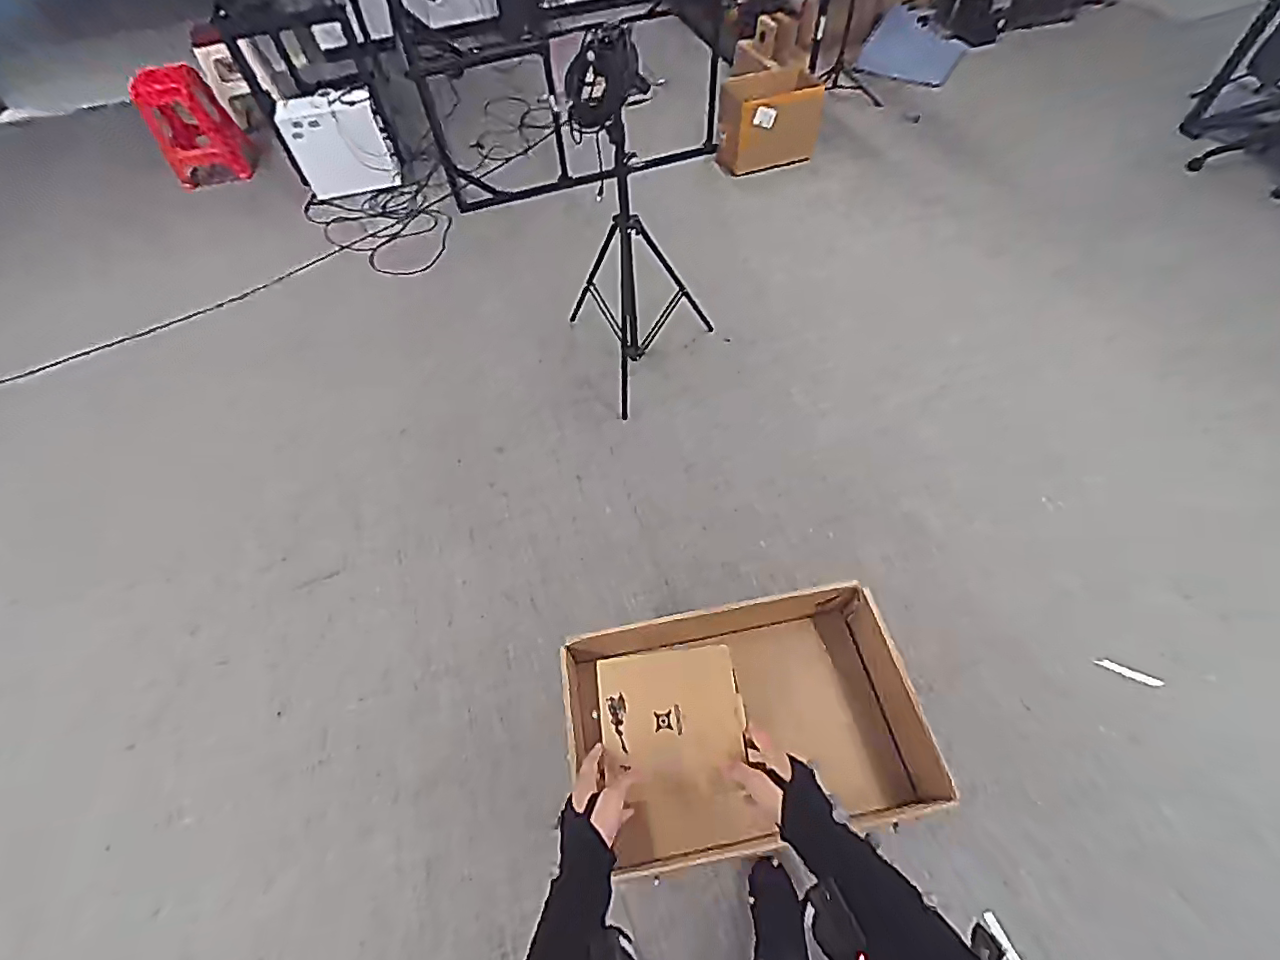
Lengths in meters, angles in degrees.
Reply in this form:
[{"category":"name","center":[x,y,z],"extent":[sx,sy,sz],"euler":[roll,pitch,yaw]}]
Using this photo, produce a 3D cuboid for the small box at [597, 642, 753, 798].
[{"category":"small box","center":[0.046,0.317,0.732],"extent":[0.179,0.176,0.168],"euler":[-8,67,4]}]
